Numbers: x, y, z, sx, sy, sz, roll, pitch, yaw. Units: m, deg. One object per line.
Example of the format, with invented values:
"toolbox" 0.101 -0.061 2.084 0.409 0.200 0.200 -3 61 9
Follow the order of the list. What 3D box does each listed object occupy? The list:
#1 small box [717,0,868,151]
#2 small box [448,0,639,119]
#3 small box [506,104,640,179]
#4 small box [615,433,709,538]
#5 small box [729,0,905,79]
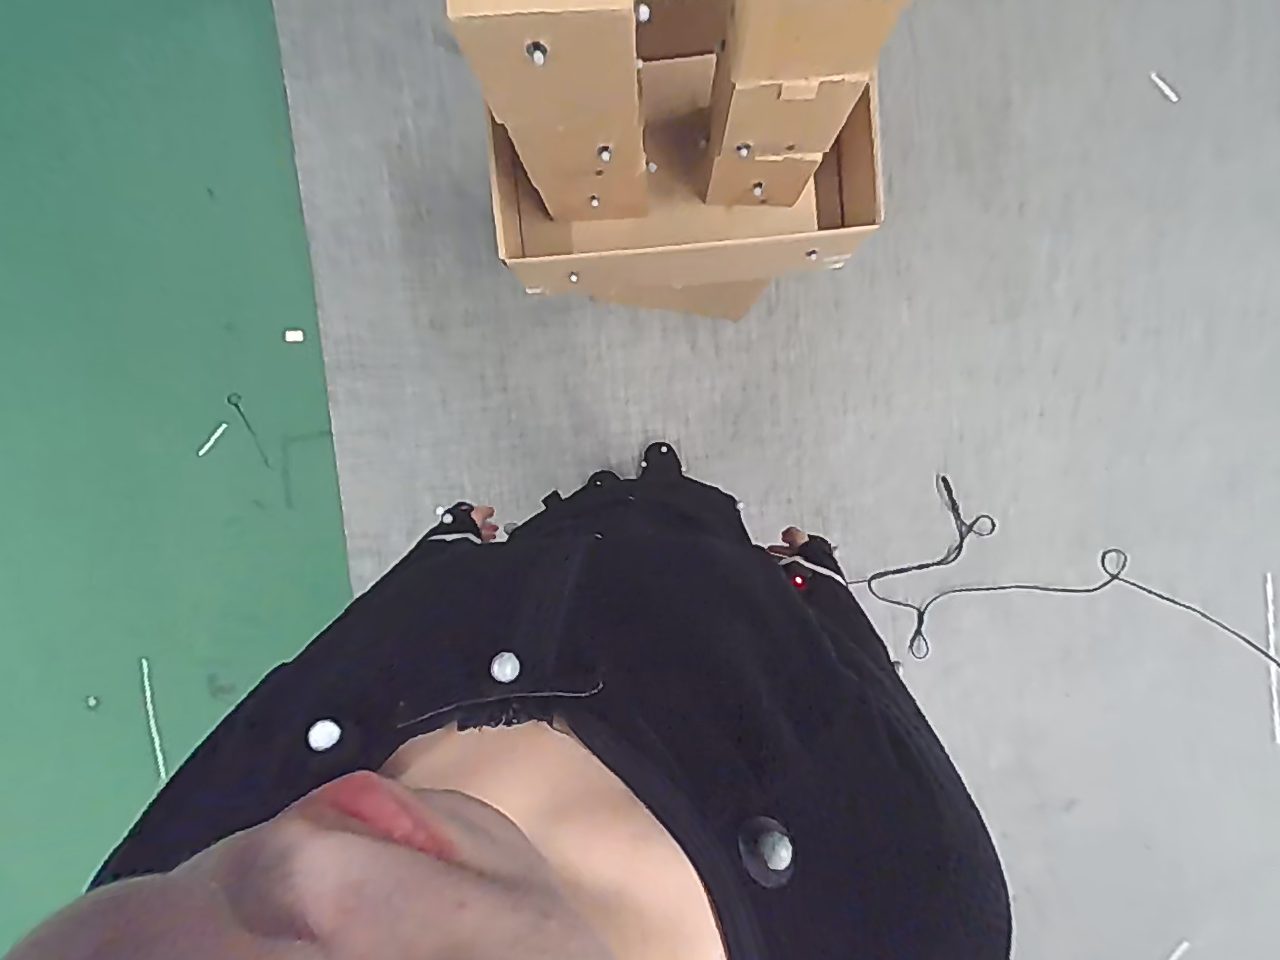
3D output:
"small box" 0.196 -0.571 0.732 0.168 0.176 0.179 -2 94 2
"small box" -0.092 -0.516 0.577 0.179 0.176 0.168 -1 95 0
"small box" -0.088 -0.536 0.741 0.168 0.176 0.179 -4 94 1
"small box" 0.050 0.016 1.409 0.168 0.176 0.179 40 57 24
"small box" 0.188 -0.561 0.570 0.179 0.176 0.168 -3 94 1
